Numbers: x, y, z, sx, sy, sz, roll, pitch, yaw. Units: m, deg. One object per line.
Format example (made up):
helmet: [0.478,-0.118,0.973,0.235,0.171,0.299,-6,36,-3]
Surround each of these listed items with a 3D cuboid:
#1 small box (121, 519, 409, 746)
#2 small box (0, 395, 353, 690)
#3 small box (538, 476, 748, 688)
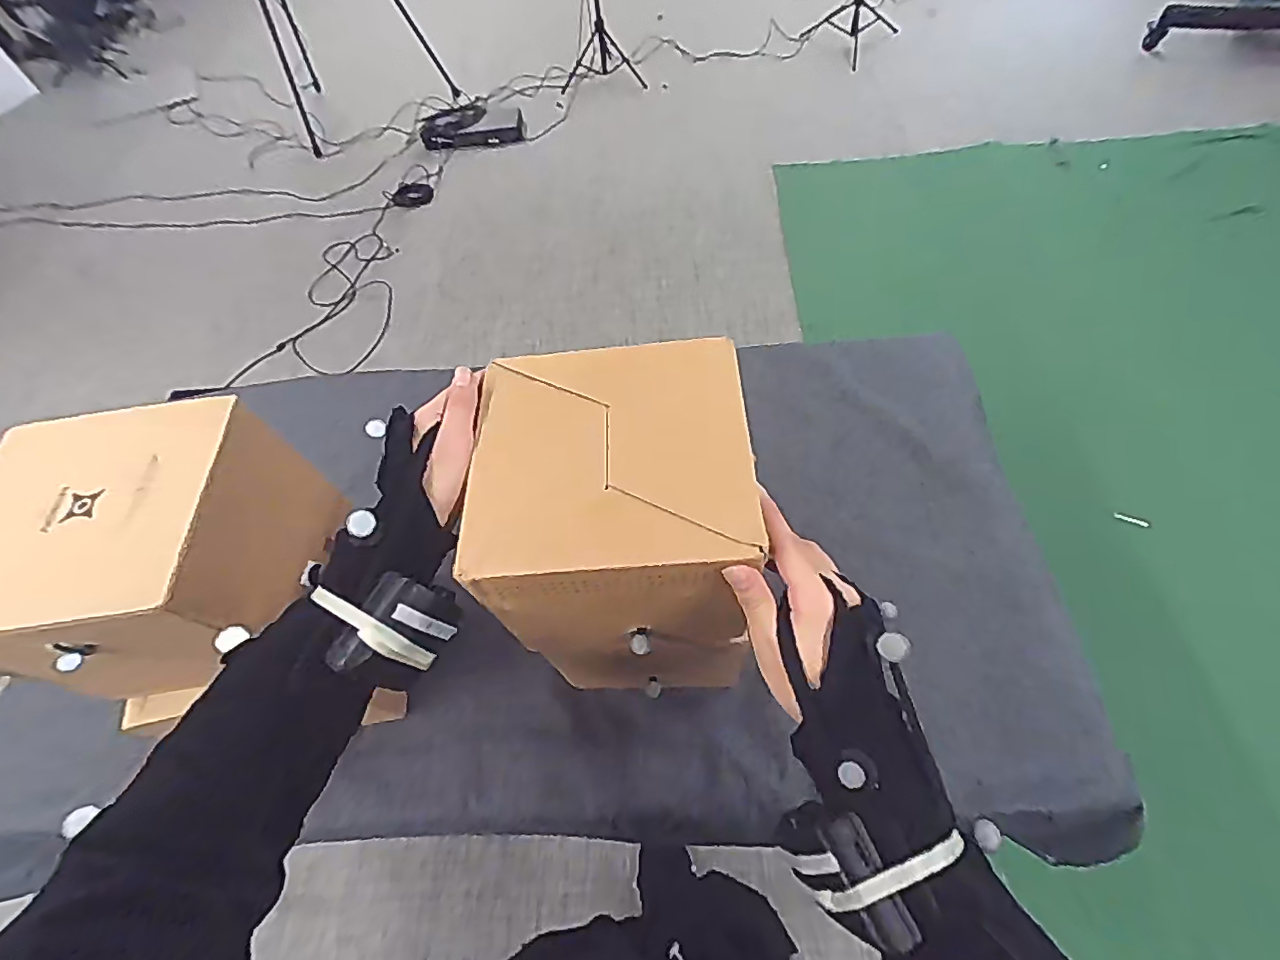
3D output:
small box: [-0.354,0.156,0.556,0.168,0.176,0.179,-12,59,-2]
small box: [-0.365,0.058,0.426,0.179,0.176,0.168,-8,59,-1]
small box: [0.006,0.109,0.551,0.179,0.176,0.168,-2,58,3]
